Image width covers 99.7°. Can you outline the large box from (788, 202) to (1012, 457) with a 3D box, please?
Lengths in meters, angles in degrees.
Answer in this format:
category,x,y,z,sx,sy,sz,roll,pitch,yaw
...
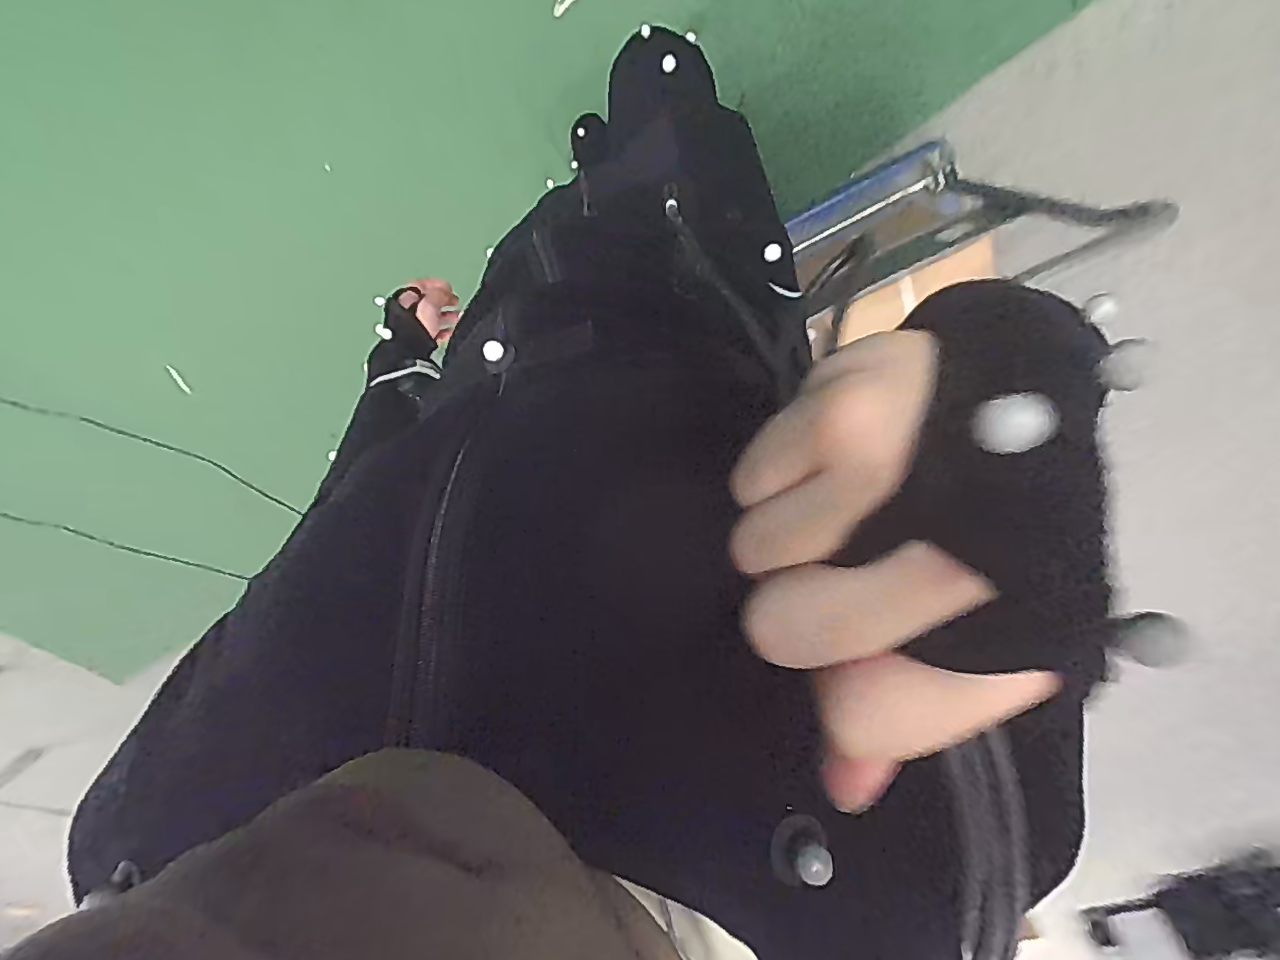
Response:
category,x,y,z,sx,sy,sz,roll,pitch,yaw
large box,0.579,-0.338,1.229,0.320,0.320,0.408,-23,125,15
